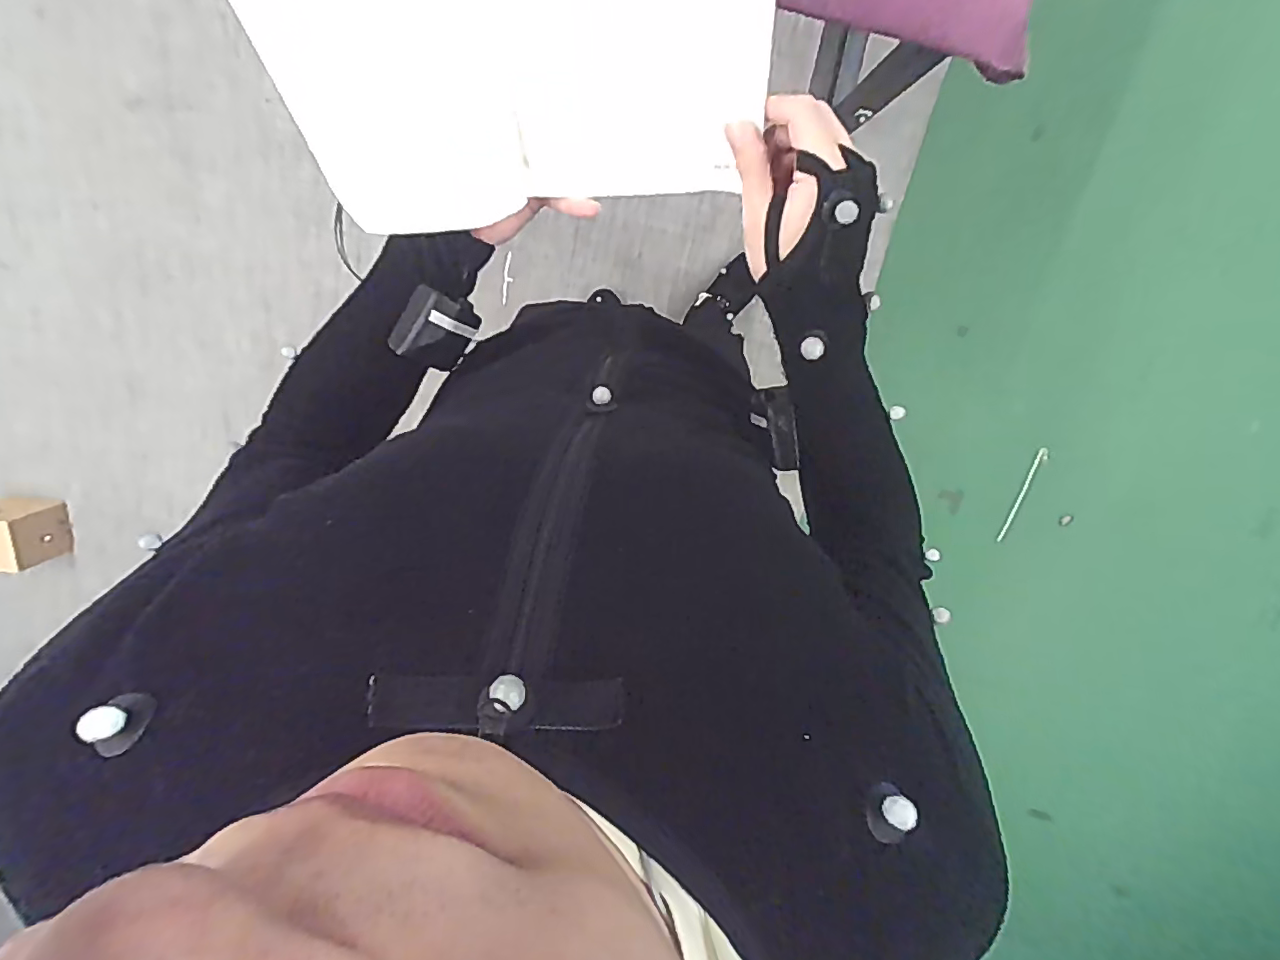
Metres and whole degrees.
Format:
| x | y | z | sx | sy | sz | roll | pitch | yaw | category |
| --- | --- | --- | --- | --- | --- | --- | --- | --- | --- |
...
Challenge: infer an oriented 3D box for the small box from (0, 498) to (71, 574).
| x | y | z | sx | sy | sz | roll | pitch | yaw | category |
| --- | --- | --- | --- | --- | --- | --- | --- | --- | --- |
| -1.872 | 0.162 | 1.620 | 0.179 | 0.176 | 0.168 | 7 | 108 | -3 | small box |
